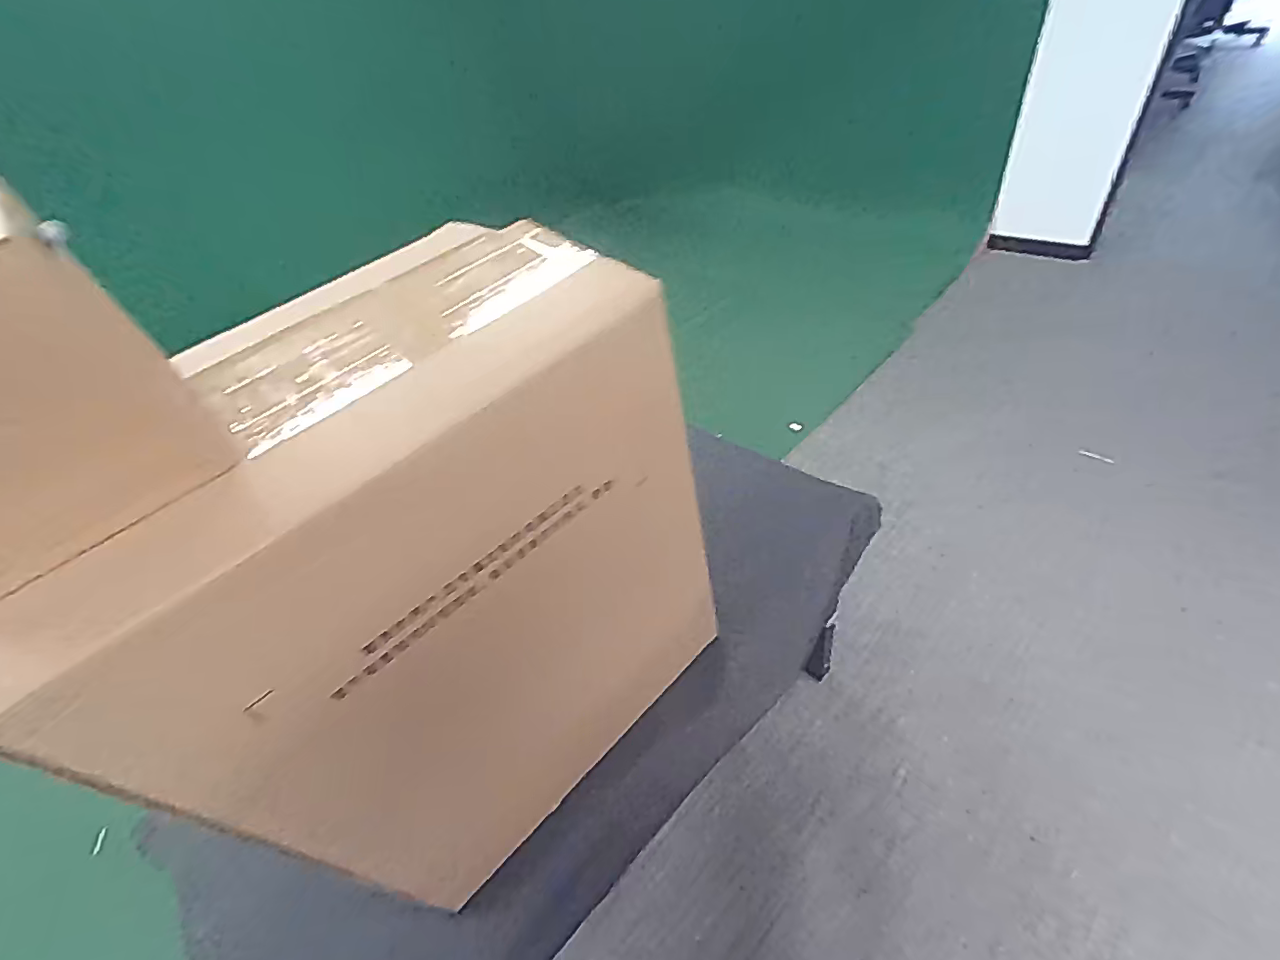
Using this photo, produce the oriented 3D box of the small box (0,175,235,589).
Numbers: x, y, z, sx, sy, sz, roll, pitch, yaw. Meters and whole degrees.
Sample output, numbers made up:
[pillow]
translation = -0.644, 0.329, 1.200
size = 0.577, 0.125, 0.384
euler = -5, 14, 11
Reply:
[small box]
translation = -0.406, -0.055, 0.328
size = 0.179, 0.176, 0.168
euler = -39, 57, -23
